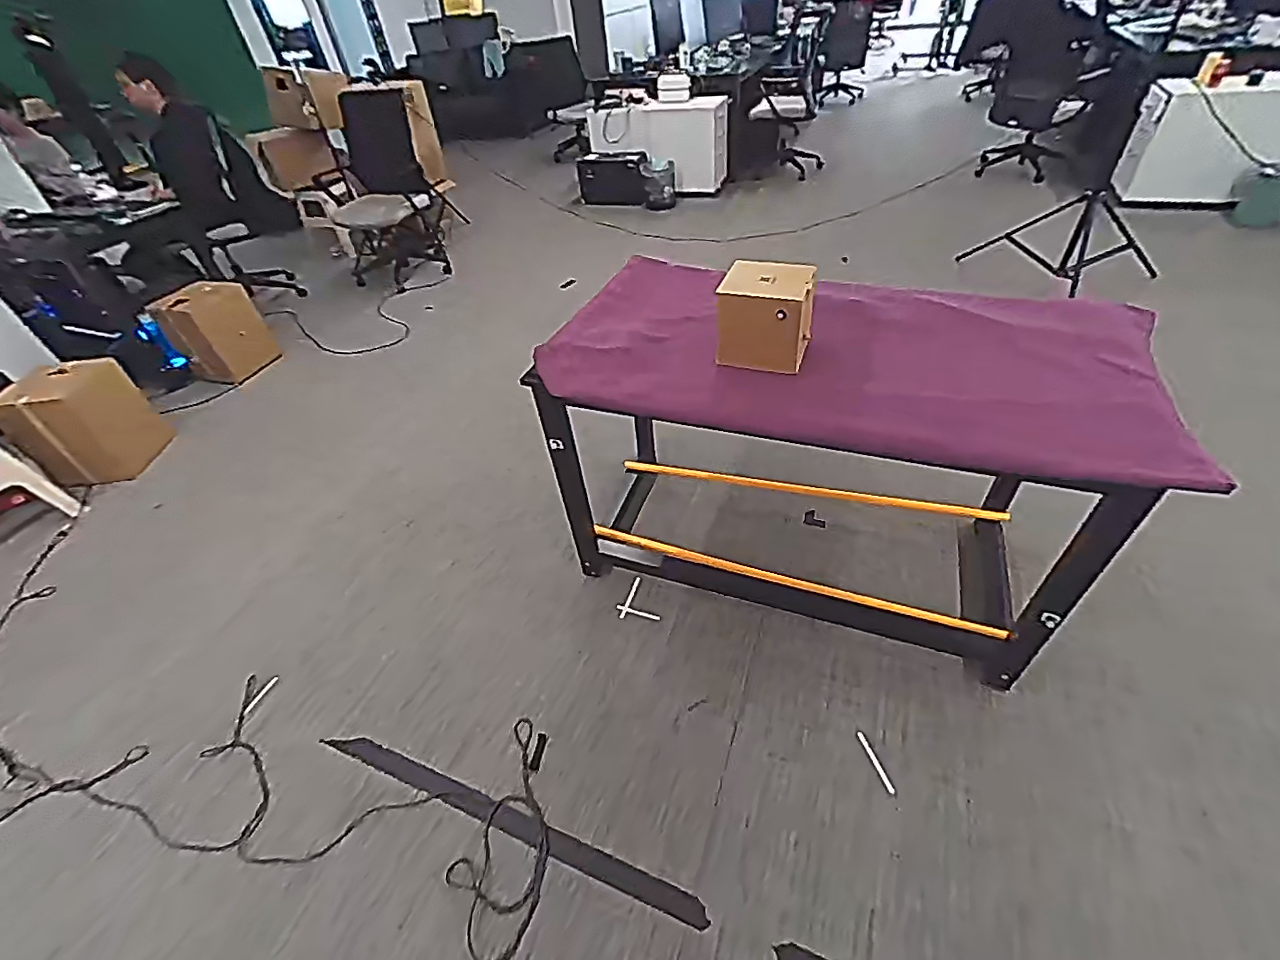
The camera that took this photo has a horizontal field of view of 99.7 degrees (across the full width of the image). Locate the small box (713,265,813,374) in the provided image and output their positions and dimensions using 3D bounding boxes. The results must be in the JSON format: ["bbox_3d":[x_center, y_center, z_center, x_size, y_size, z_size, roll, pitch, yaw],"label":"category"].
[{"bbox_3d":[0.261,-0.345,1.165,0.179,0.176,0.168,12,46,19],"label":"small box"}]
